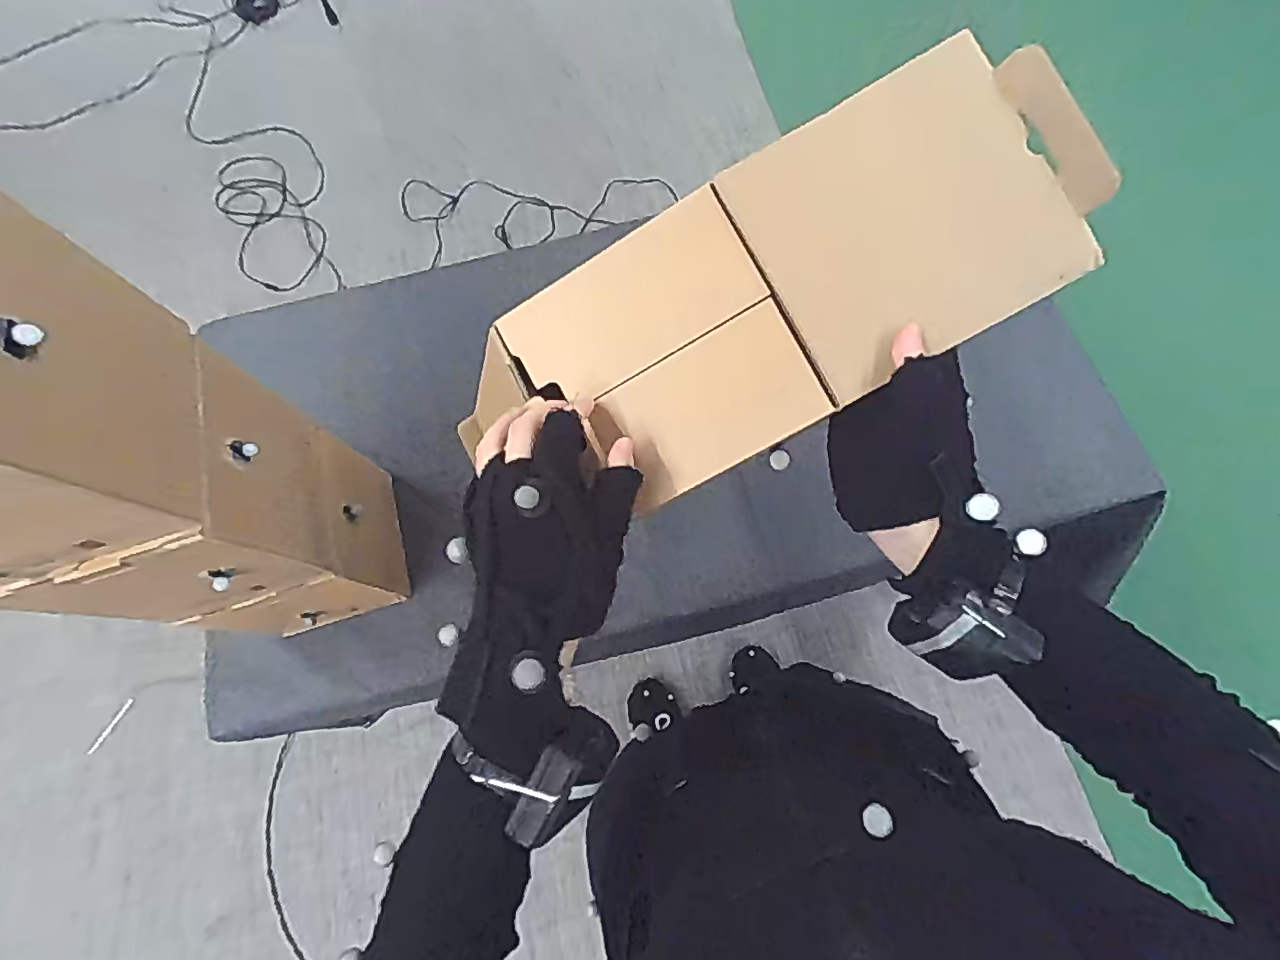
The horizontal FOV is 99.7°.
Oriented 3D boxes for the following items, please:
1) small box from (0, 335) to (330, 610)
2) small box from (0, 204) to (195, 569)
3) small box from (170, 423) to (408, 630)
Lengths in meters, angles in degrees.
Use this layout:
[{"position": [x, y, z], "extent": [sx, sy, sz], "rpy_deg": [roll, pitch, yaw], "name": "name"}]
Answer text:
[{"position": [-0.401, 0.009, 0.475], "extent": [0.168, 0.176, 0.179], "rpy_deg": [-16, 71, -4], "name": "small box"}, {"position": [-0.411, -0.051, 0.323], "extent": [0.168, 0.176, 0.179], "rpy_deg": [-18, 71, -5], "name": "small box"}, {"position": [-0.394, 0.063, 0.629], "extent": [0.168, 0.176, 0.179], "rpy_deg": [-17, 72, -3], "name": "small box"}]
